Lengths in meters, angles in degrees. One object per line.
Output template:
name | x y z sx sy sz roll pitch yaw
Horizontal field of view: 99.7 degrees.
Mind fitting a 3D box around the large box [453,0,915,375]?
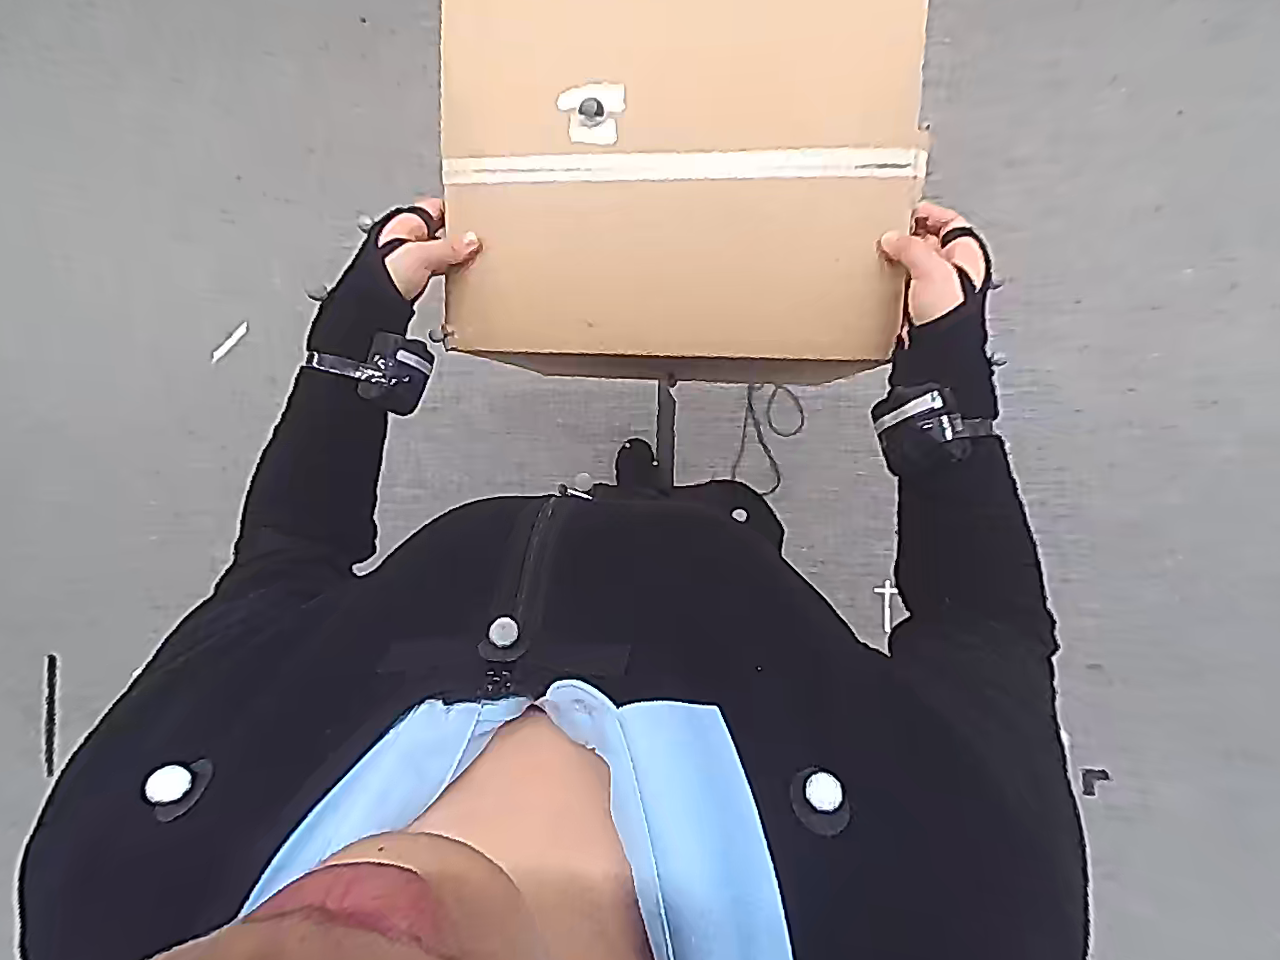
large box | 0.047 -0.287 0.620 0.408 0.320 0.320 2 95 8
